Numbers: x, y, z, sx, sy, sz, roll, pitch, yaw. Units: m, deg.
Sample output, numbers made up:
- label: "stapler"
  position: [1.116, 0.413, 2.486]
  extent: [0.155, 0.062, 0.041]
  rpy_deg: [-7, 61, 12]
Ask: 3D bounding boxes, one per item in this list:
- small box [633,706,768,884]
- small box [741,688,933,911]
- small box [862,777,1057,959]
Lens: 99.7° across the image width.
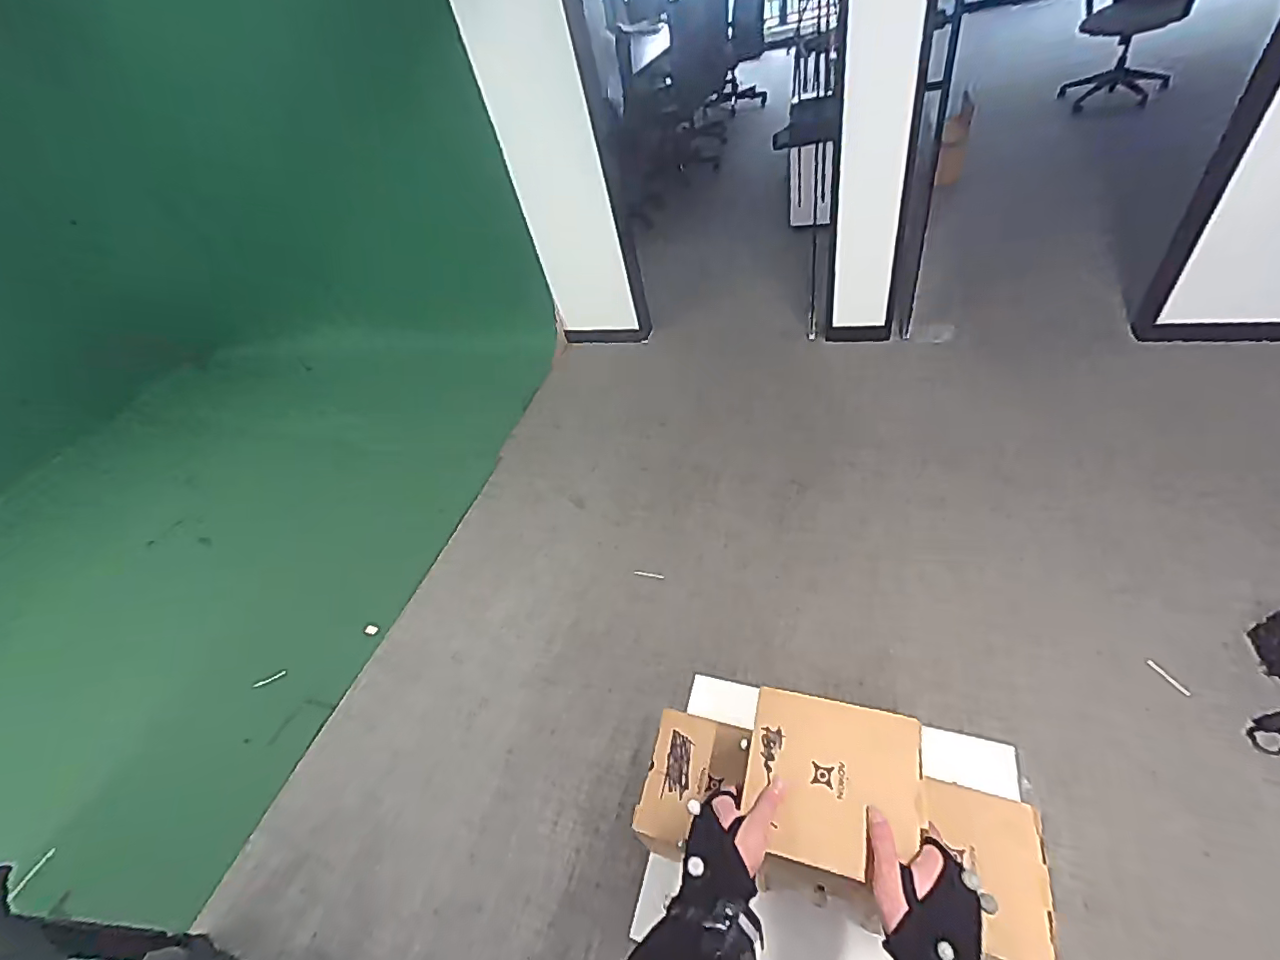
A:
- label: "small box"
  position: [0.108, 0.458, 0.785]
  extent: [0.179, 0.176, 0.168]
  rpy_deg: [8, 51, 18]
- label: "small box"
  position: [0.219, 0.365, 0.619]
  extent: [0.179, 0.176, 0.168]
  rpy_deg: [7, 51, 19]
- label: "small box"
  position: [0.388, 0.496, 0.684]
  extent: [0.179, 0.176, 0.168]
  rpy_deg: [6, 48, 22]
